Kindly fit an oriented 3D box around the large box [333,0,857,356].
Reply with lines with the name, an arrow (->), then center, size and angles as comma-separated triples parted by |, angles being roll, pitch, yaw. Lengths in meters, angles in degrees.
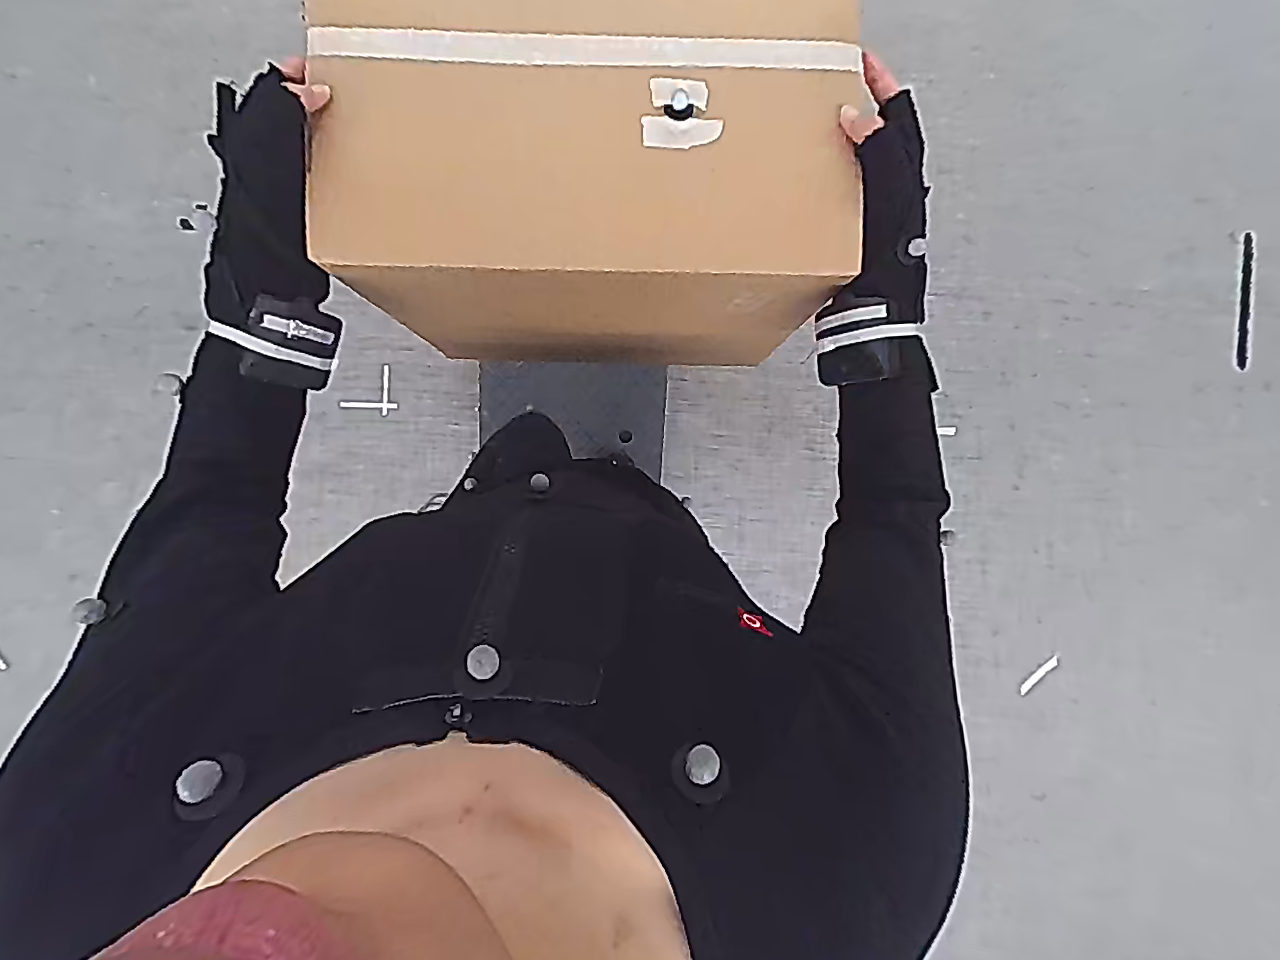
large box -> -0.037, -0.318, 0.561 | 0.408, 0.320, 0.320 | 1, 90, -2
